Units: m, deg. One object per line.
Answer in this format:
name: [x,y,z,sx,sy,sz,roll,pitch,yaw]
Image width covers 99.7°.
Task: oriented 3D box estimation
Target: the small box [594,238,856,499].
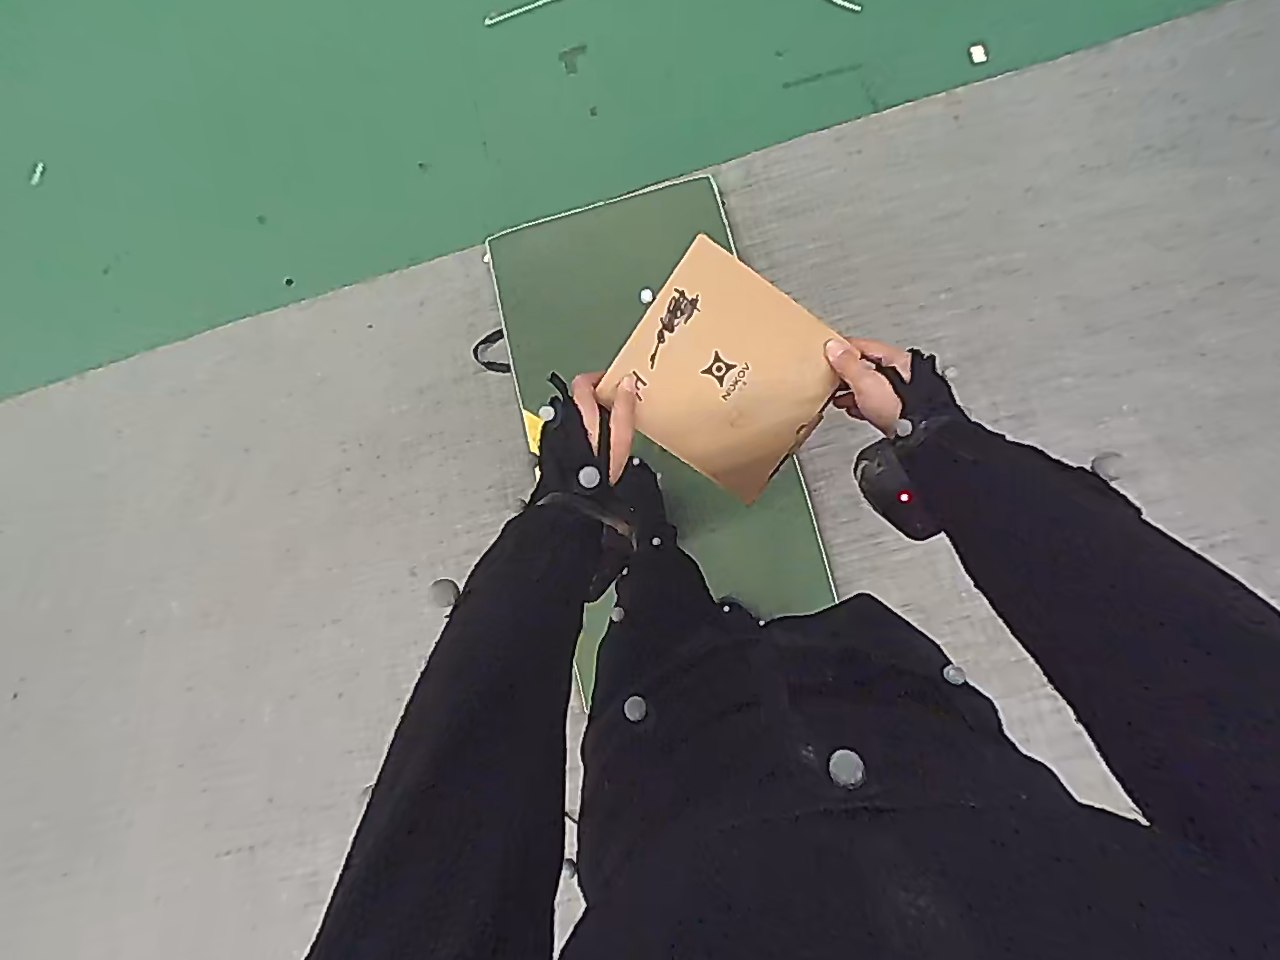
small box: [0.076,-0.109,0.554,0.179,0.176,0.168,35,98,-5]
